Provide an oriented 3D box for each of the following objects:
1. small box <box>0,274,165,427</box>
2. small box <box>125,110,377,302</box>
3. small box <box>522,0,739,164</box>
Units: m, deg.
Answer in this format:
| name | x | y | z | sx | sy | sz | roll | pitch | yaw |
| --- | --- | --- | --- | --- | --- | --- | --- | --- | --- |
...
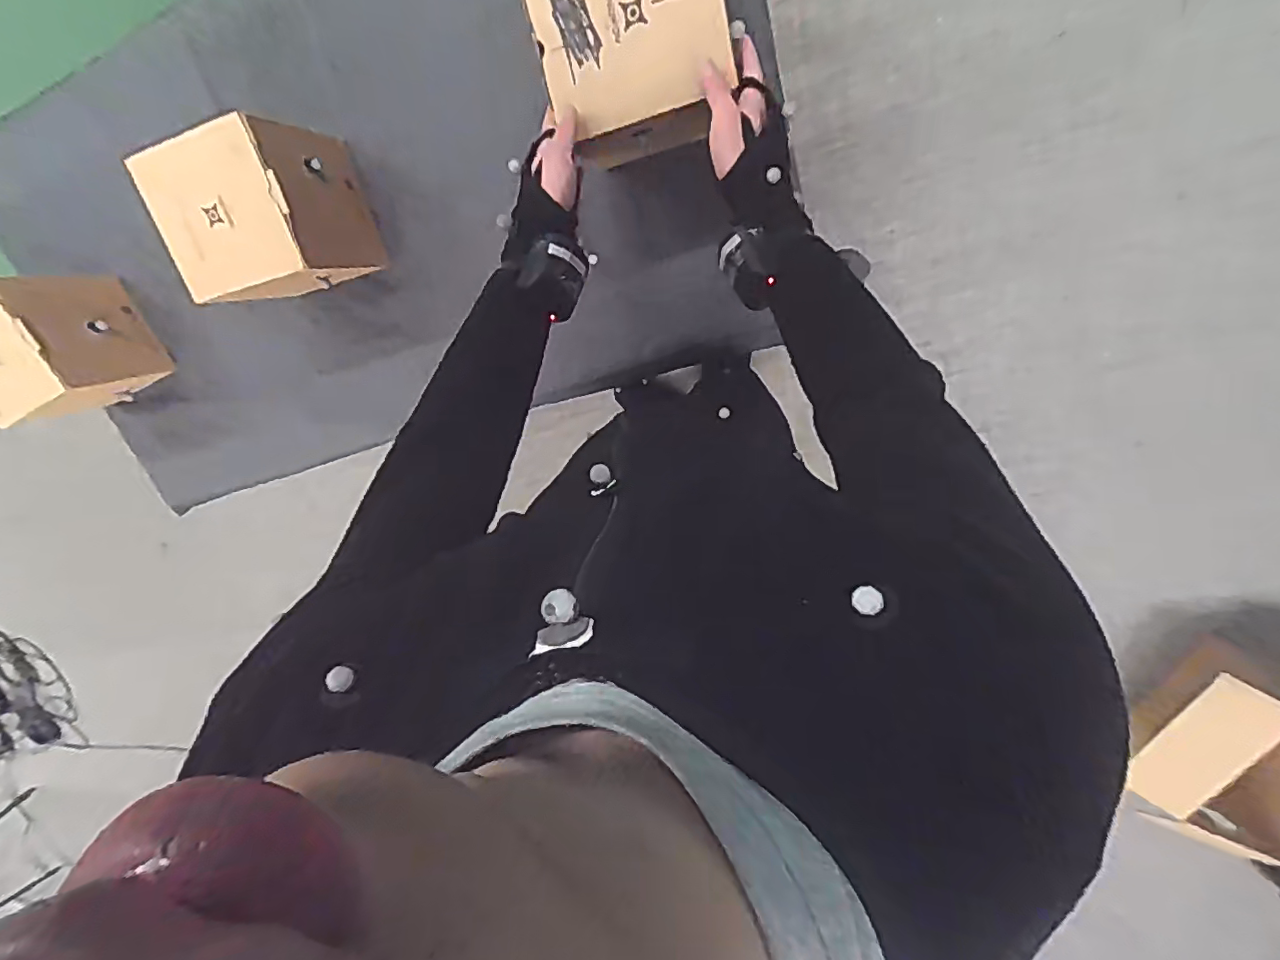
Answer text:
| name | x | y | z | sx | sy | sz | roll | pitch | yaw |
| --- | --- | --- | --- | --- | --- | --- | --- | --- | --- |
| small box | -0.892 | -0.204 | 0.828 | 0.179 | 0.176 | 0.168 | -18 | 107 | 17 |
| small box | -0.470 | -0.335 | 0.690 | 0.179 | 0.176 | 0.168 | -9 | 109 | 16 |
| small box | 0.000 | -0.441 | 0.546 | 0.179 | 0.176 | 0.168 | -9 | 110 | 14 |
